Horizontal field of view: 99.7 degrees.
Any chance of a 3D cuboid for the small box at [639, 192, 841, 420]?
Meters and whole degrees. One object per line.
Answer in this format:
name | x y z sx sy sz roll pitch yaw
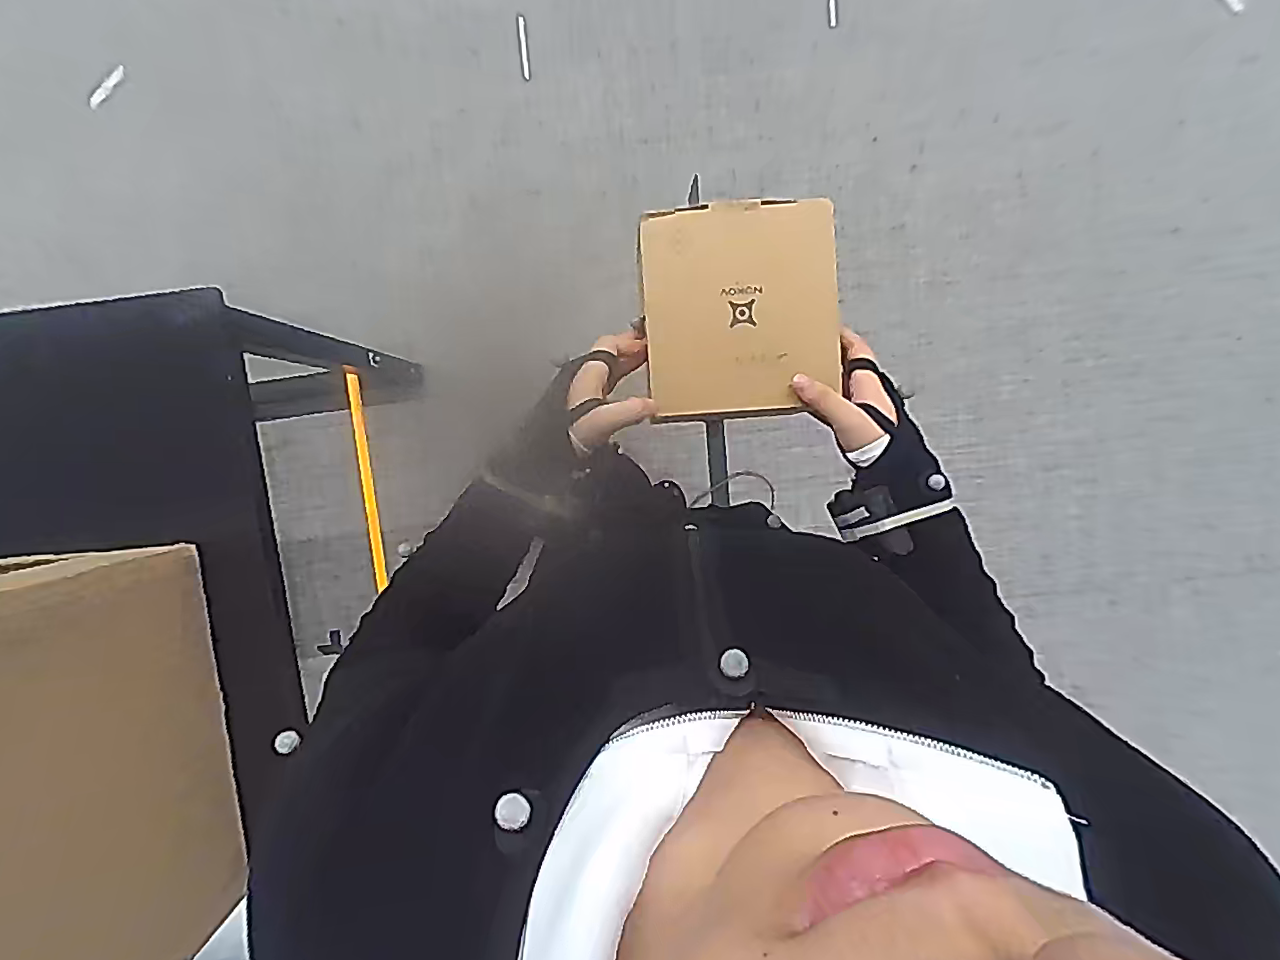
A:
small box | 0.085 -0.155 0.536 0.168 0.176 0.179 -4 94 1
